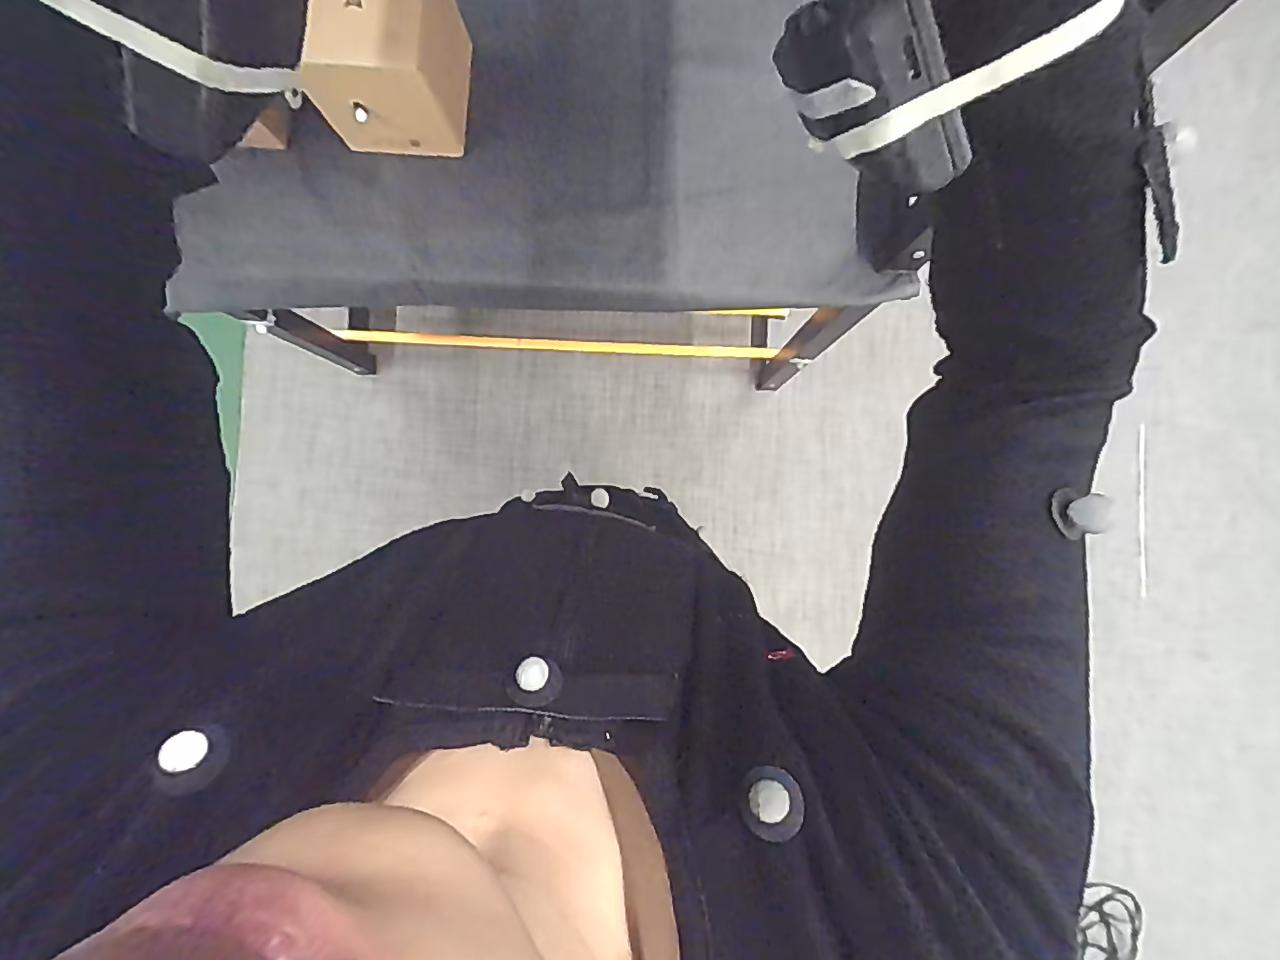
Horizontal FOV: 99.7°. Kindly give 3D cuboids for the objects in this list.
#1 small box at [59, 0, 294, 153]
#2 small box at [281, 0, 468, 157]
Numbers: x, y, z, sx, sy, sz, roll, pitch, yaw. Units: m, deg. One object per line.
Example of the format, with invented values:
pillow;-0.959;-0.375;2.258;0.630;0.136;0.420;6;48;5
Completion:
small box;-0.589;-0.574;0.714;0.168;0.176;0.179;3;88;0
small box;-0.337;-0.563;0.718;0.168;0.176;0.179;3;87;-1
